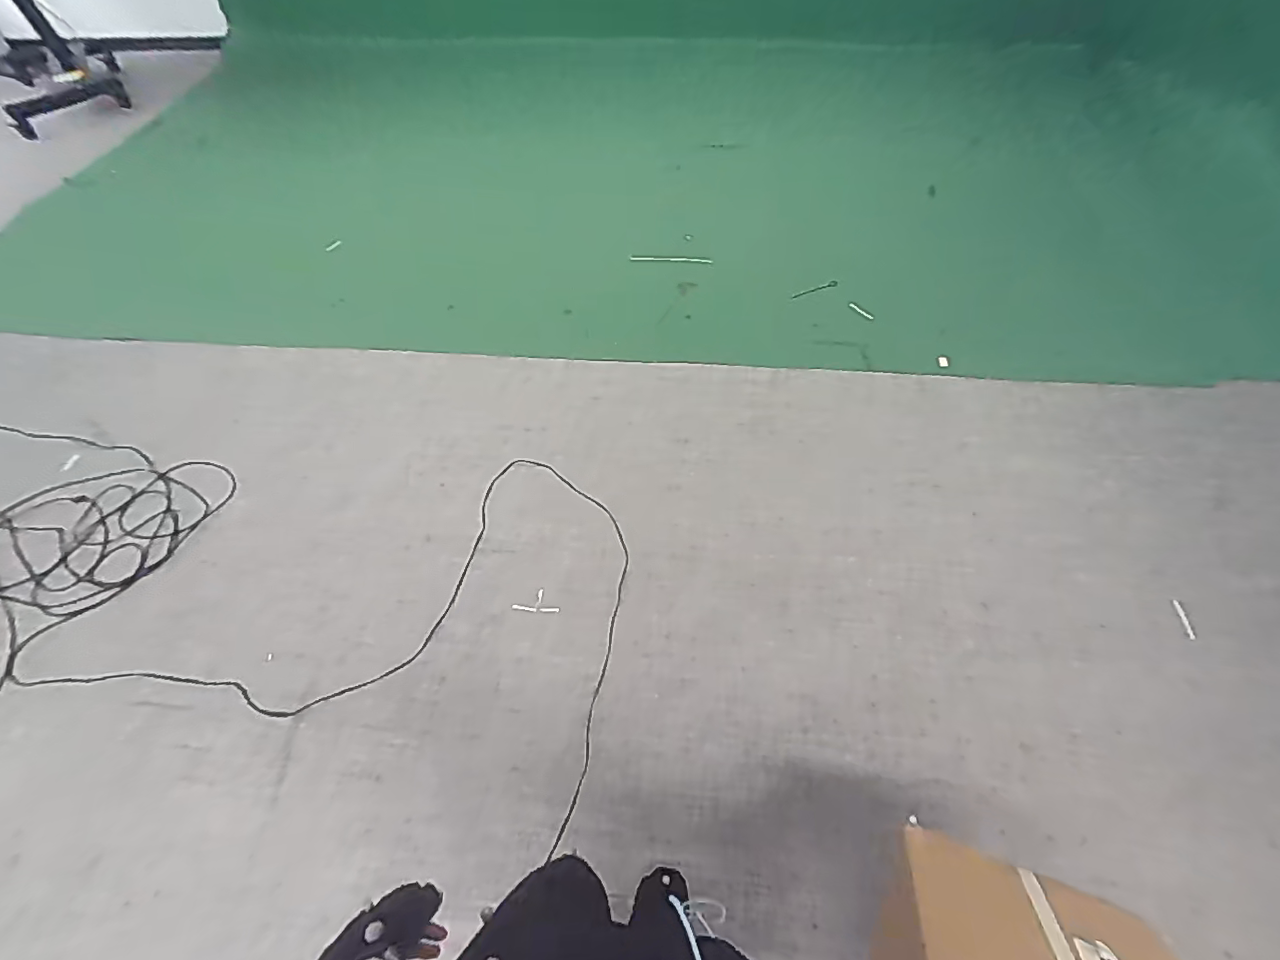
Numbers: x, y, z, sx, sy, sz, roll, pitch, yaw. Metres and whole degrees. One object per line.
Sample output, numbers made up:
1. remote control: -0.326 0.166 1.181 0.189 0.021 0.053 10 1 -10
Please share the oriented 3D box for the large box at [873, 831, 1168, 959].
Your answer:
1. large box: 0.445 0.715 0.601 0.320 0.408 0.320 14 95 20
